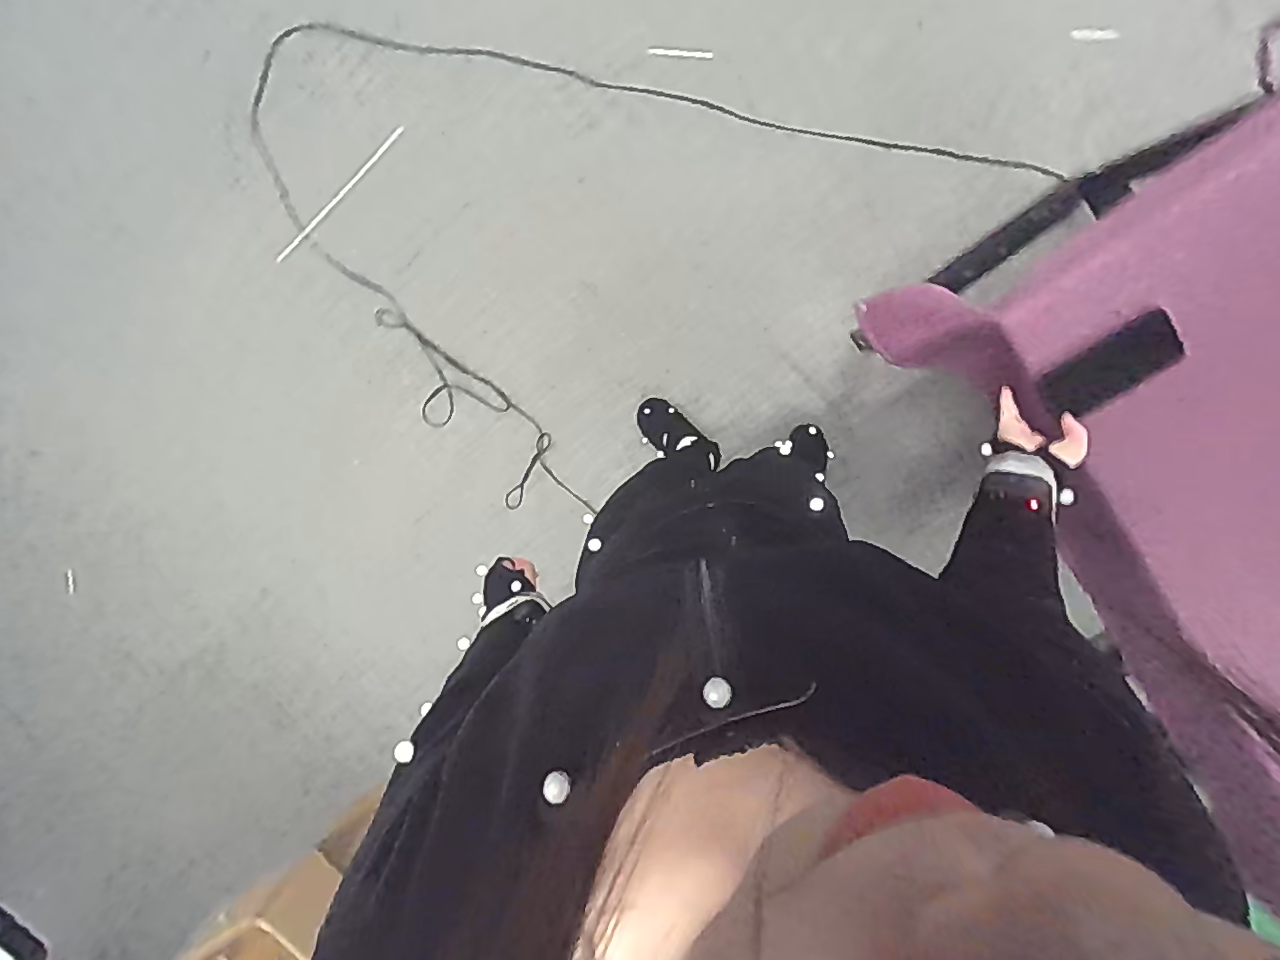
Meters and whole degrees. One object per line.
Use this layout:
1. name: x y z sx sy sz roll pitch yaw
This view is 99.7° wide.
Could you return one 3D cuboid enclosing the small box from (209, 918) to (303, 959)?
1. small box: -0.969 1.227 1.322 0.179 0.176 0.168 -29 99 11
